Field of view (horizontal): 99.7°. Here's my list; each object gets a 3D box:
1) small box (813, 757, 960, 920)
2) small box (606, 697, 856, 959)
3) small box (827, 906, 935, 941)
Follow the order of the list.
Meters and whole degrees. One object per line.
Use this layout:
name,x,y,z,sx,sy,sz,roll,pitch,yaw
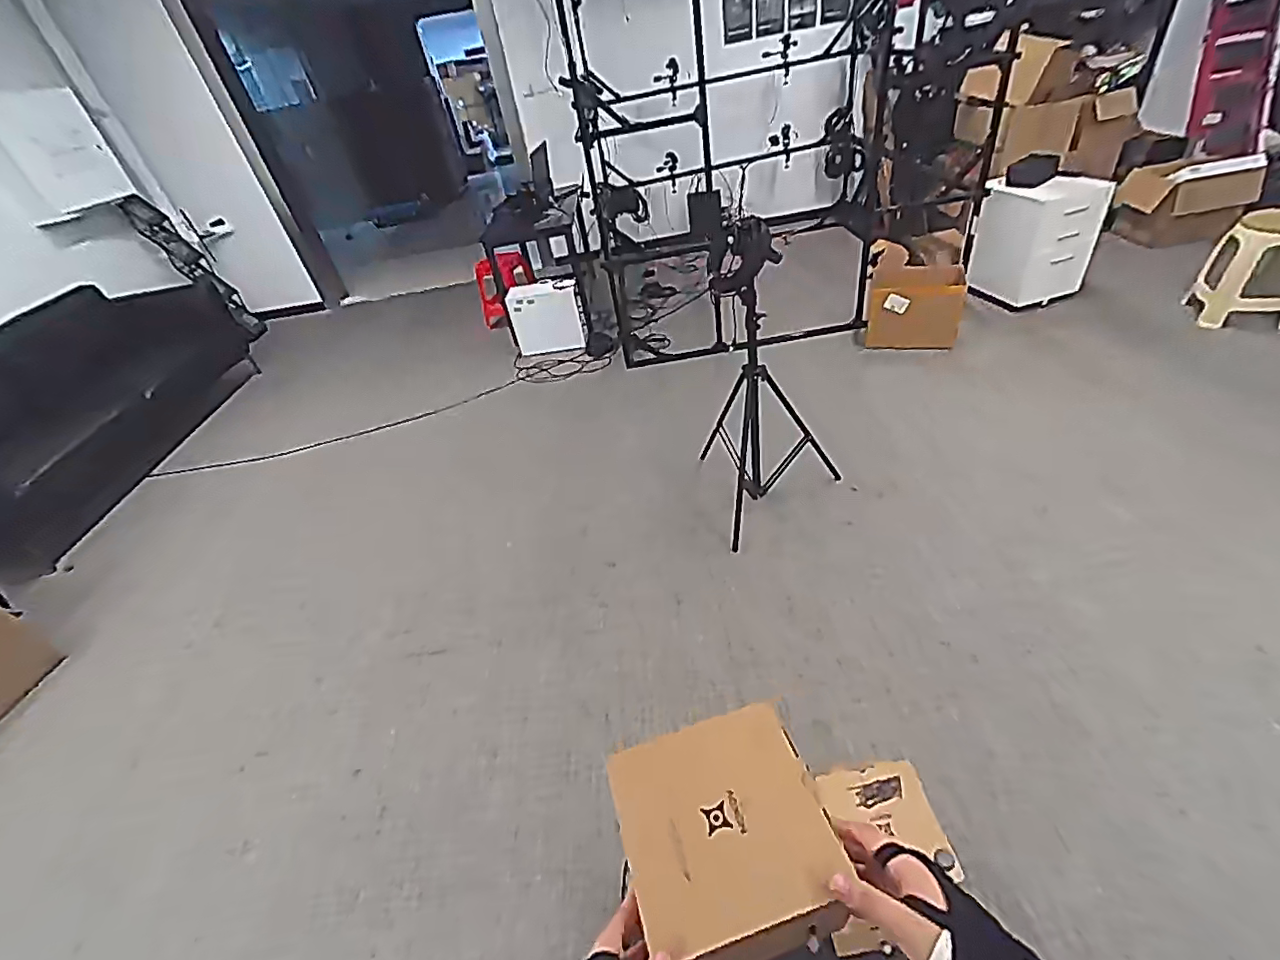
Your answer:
small box,0.395,0.602,0.910,0.168,0.176,0.179,-11,39,2
small box,0.081,0.352,0.531,0.179,0.176,0.168,-18,40,-7
small box,0.413,0.731,1.009,0.168,0.176,0.179,-11,39,2
